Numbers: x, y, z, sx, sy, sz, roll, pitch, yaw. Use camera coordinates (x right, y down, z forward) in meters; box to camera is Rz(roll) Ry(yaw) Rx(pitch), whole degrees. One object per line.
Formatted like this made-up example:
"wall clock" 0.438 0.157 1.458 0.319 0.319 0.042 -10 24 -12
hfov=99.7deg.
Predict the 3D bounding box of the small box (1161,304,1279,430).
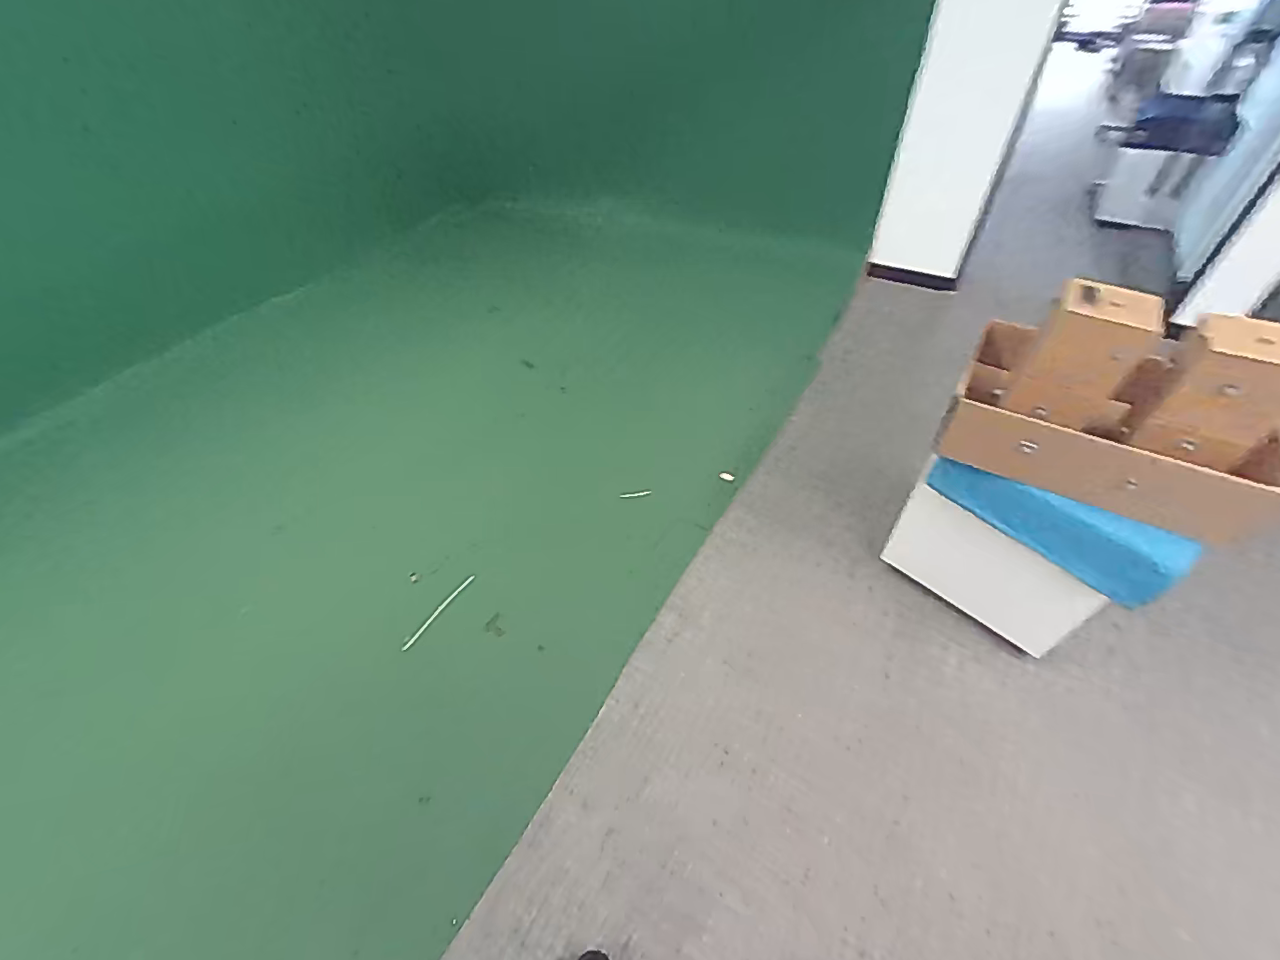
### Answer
"small box" 1.191 -0.225 1.079 0.179 0.176 0.168 21 53 24
